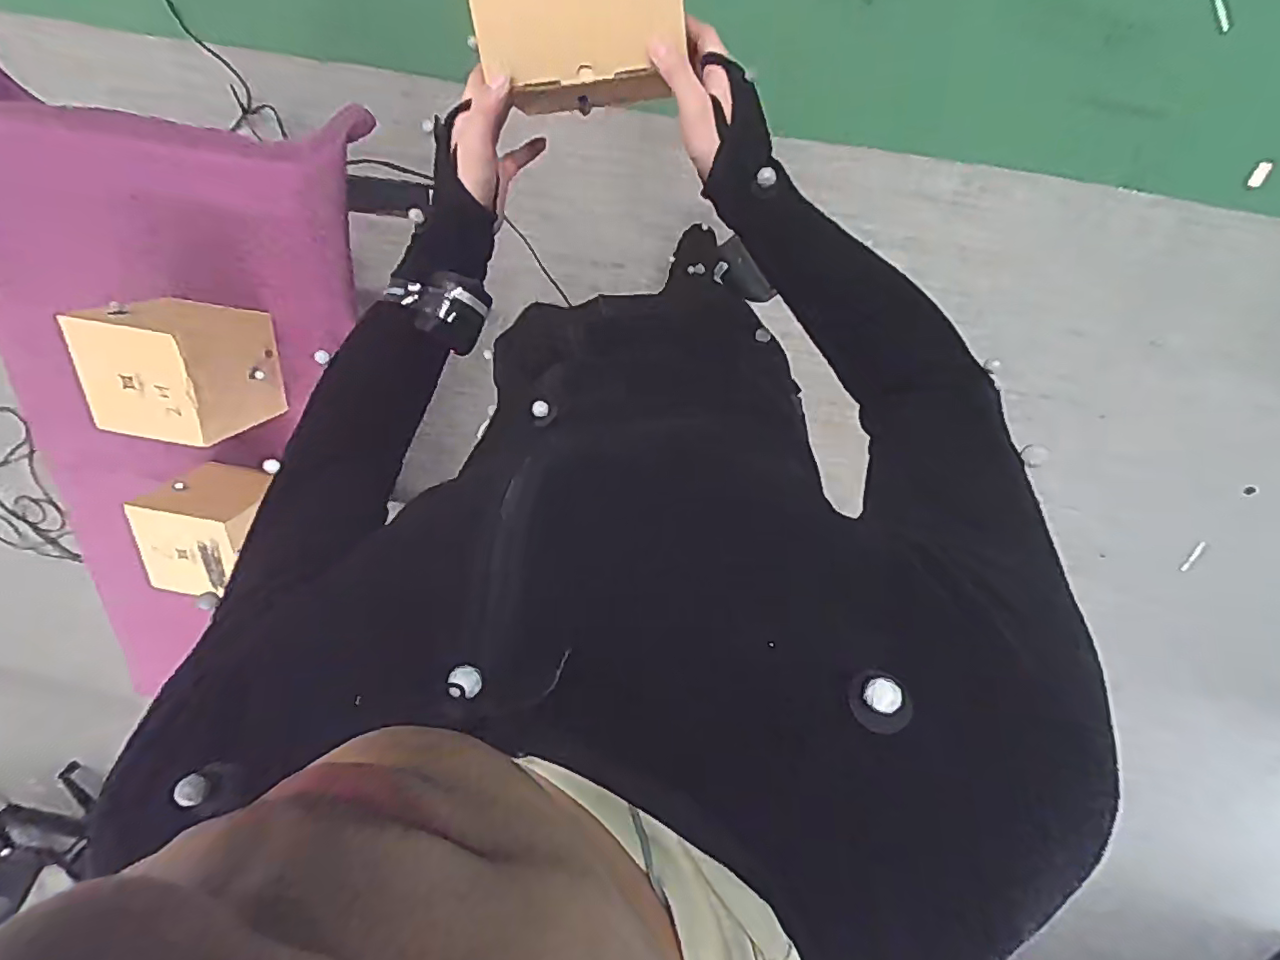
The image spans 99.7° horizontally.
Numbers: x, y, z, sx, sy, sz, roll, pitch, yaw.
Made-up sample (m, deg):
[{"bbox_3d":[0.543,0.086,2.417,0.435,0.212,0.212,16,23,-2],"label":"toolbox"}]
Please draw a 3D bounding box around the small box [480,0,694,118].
[{"bbox_3d":[-0.047,-0.435,0.470,0.168,0.176,0.179,-6,121,3],"label":"small box"}]

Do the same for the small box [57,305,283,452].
[{"bbox_3d":[-0.689,-0.162,0.817,0.179,0.176,0.168,10,117,3],"label":"small box"}]
